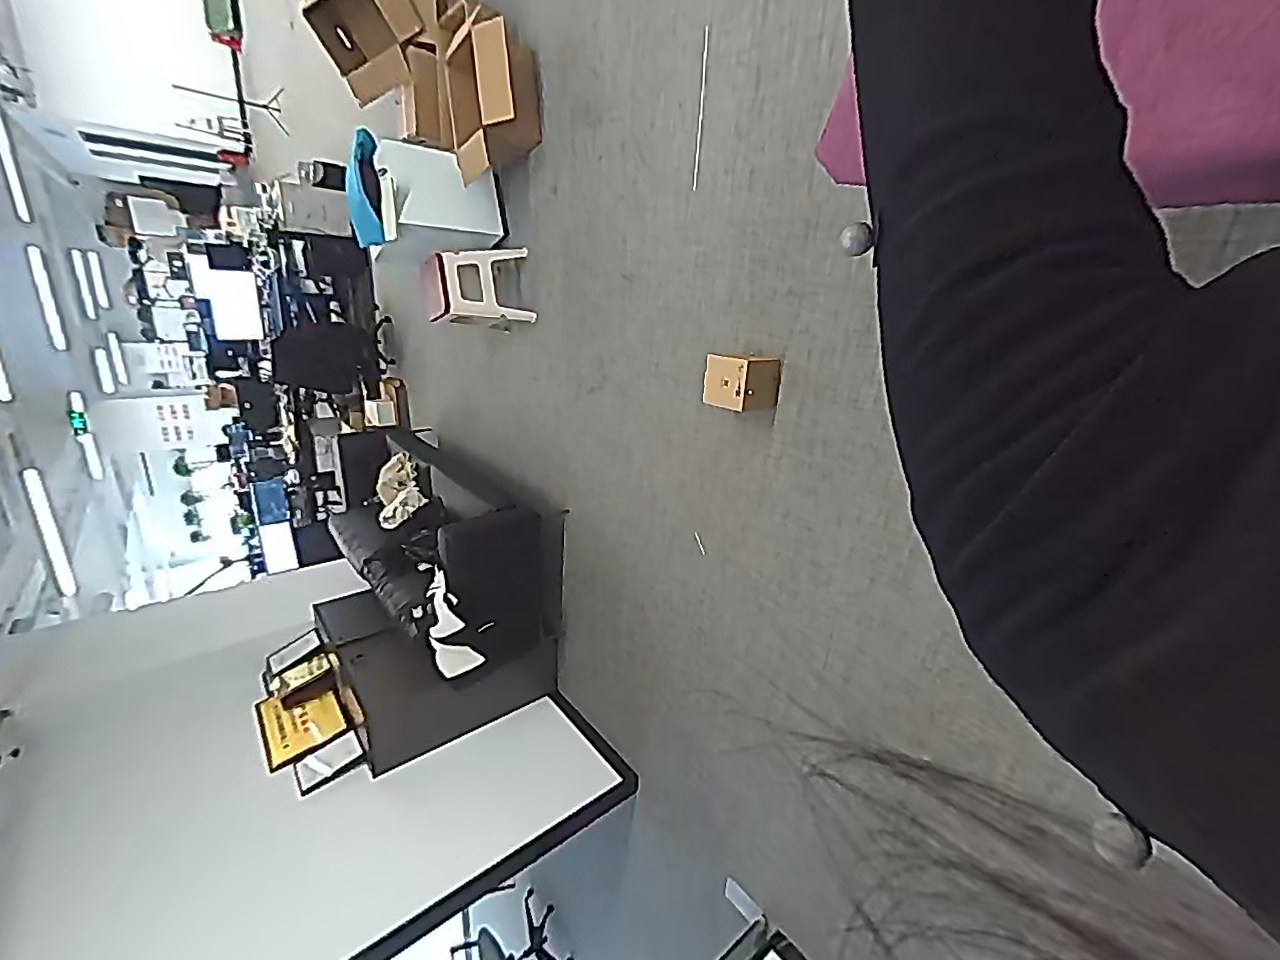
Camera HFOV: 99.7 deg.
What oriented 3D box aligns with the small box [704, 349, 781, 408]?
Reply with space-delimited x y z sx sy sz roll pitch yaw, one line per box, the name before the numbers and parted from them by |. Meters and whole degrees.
small box | 0.342 -0.342 1.807 0.179 0.176 0.168 25 118 46
